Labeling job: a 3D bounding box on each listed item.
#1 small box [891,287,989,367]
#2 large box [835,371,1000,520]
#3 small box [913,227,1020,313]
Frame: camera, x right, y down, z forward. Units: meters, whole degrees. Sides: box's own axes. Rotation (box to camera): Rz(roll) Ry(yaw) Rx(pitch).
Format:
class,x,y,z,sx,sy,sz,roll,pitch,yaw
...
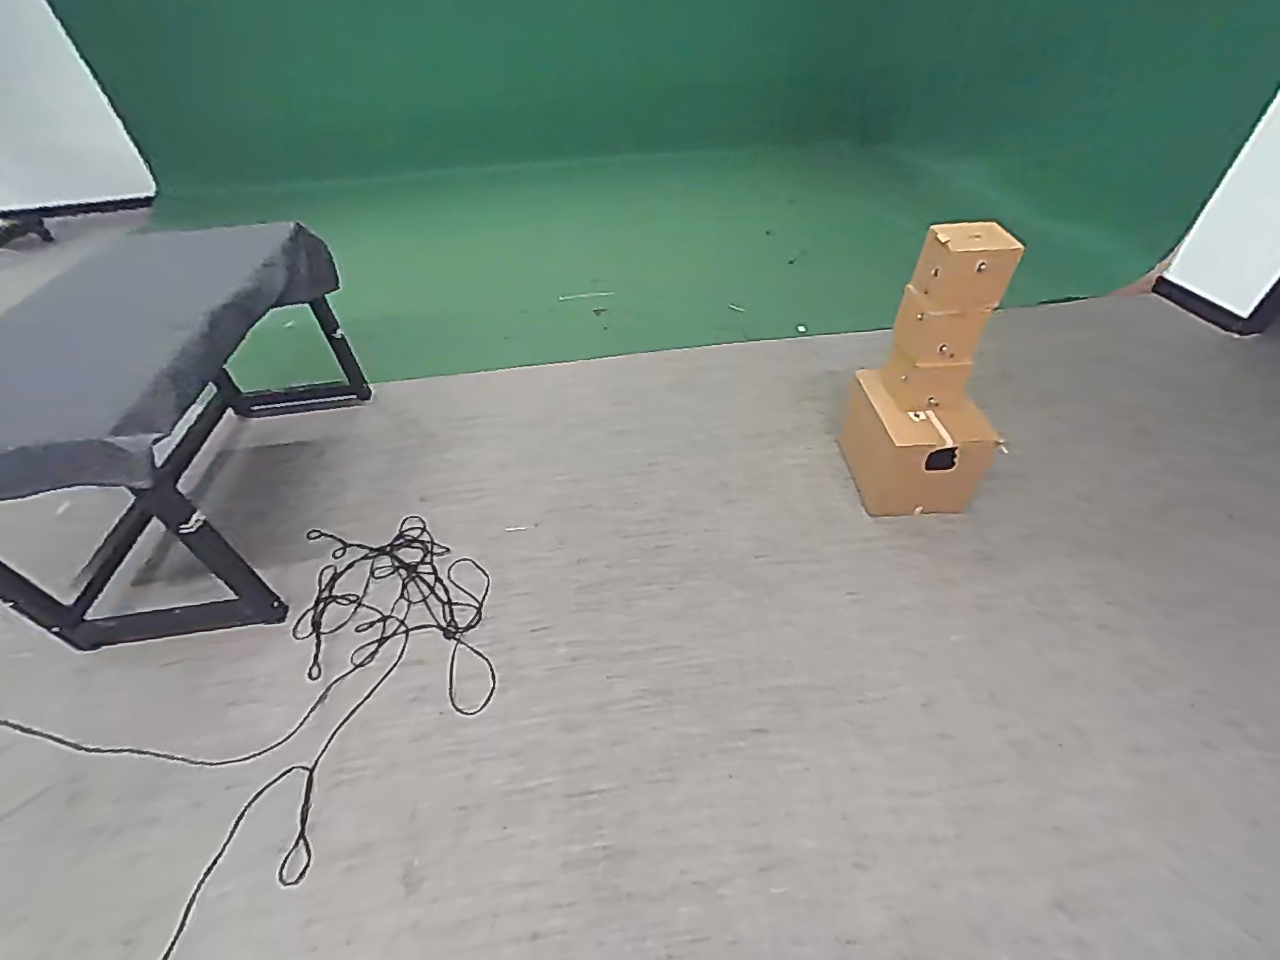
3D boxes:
class,x,y,z,sx,sy,sz,roll,pitch,yaw
small box,0.857,-0.447,1.570,0.168,0.176,0.179,-5,45,-1
large box,0.895,-0.121,1.818,0.320,0.320,0.408,-4,46,1
small box,0.862,-0.562,1.456,0.179,0.176,0.168,-2,47,0
